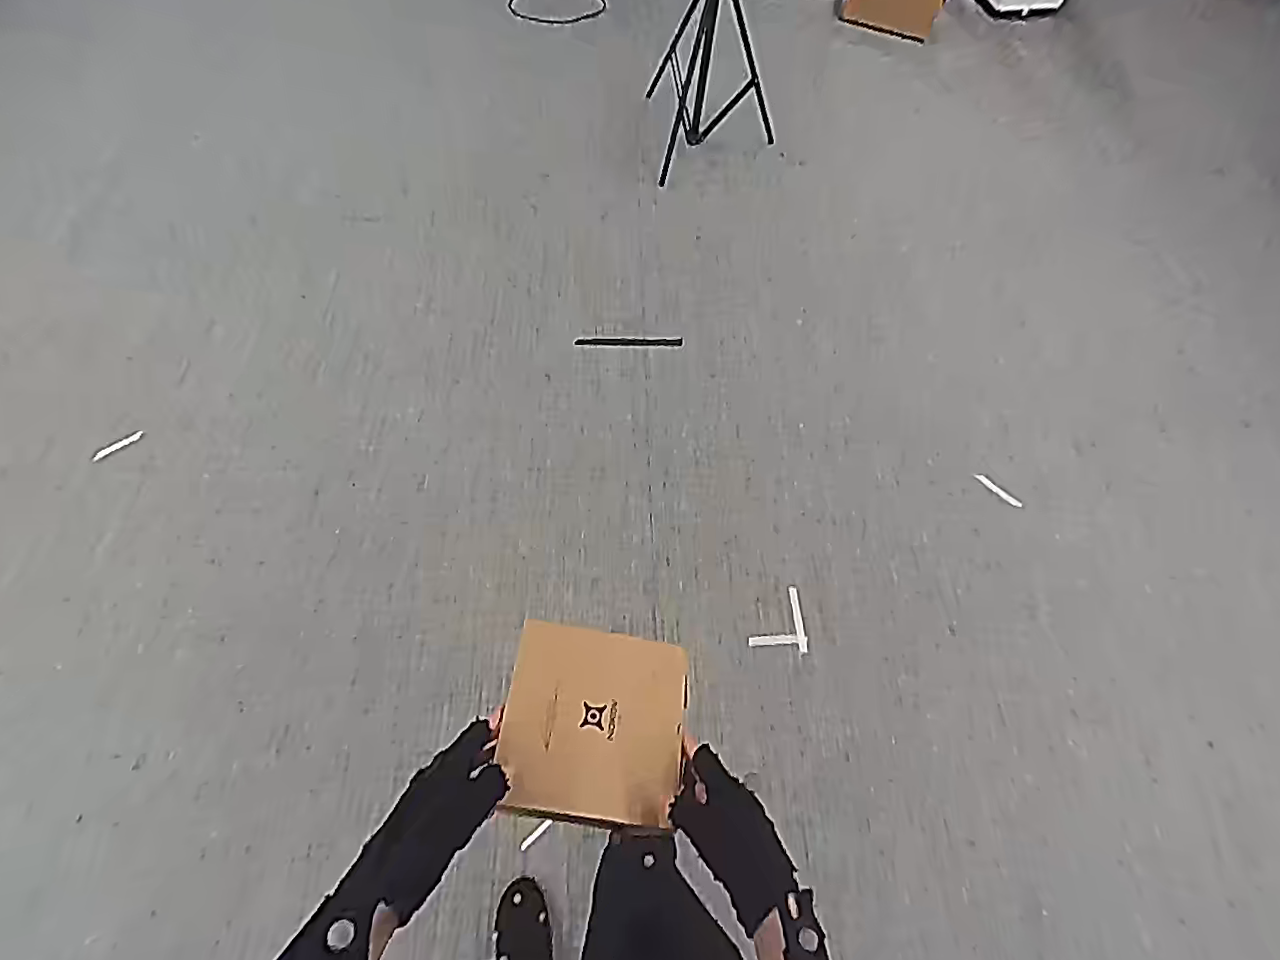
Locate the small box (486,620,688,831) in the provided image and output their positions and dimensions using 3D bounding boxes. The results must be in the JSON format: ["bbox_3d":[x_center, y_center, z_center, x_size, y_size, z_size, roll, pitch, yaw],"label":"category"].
[{"bbox_3d":[-0.058,0.271,0.582,0.179,0.176,0.168,12,53,-7],"label":"small box"}]
